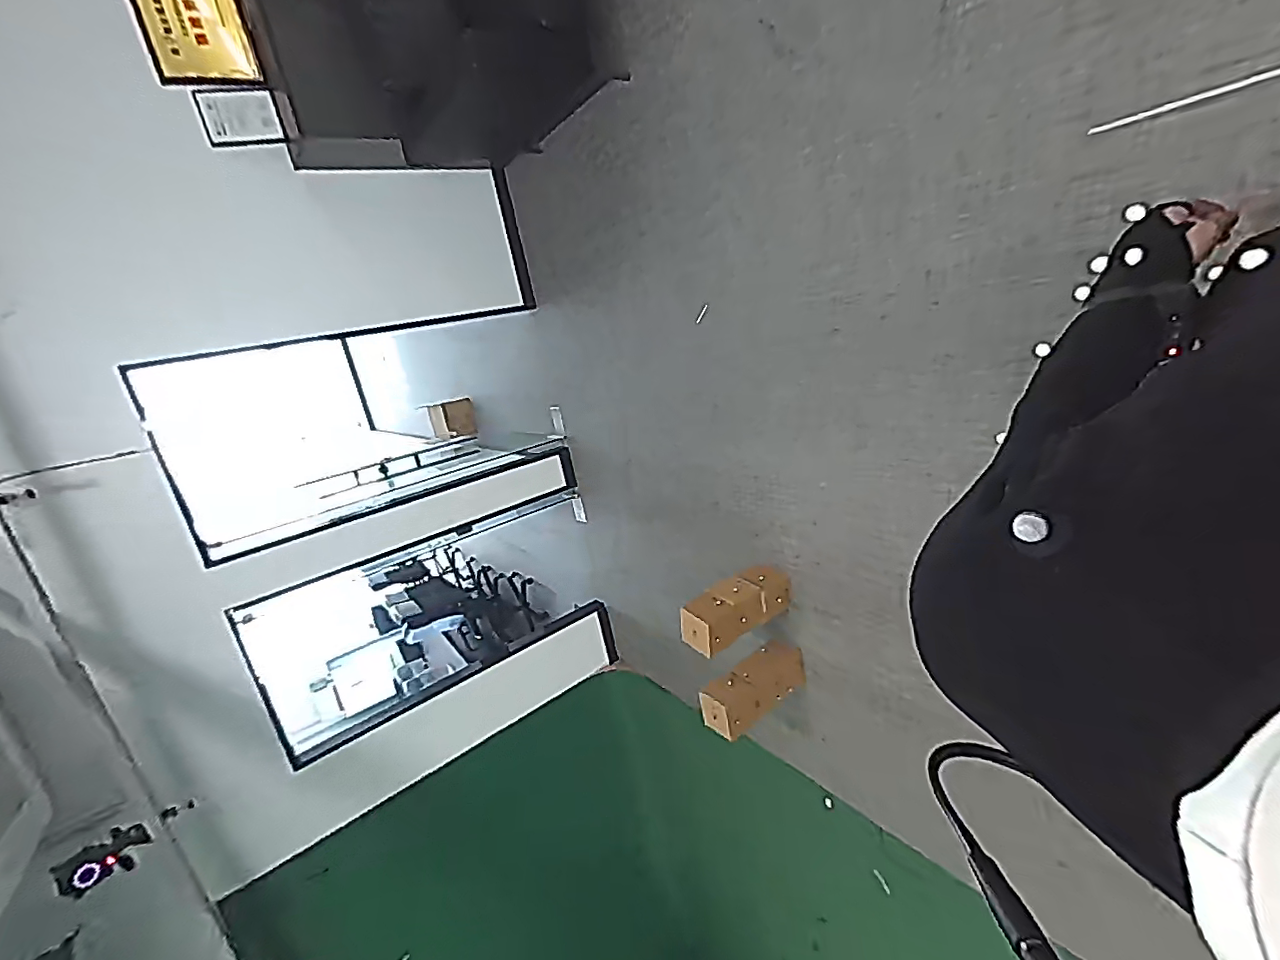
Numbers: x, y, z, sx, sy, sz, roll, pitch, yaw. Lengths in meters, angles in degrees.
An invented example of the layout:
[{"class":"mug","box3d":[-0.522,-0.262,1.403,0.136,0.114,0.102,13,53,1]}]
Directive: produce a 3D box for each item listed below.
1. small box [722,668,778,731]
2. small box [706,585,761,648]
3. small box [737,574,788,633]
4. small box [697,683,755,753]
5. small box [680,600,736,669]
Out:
[{"class":"small box","box3d":[0.492,0.956,2.378,0.179,0.176,0.168,8,113,55]},{"class":"small box","box3d":[0.402,0.575,2.311,0.168,0.176,0.179,19,122,51]},{"class":"small box","box3d":[0.537,0.539,2.396,0.179,0.176,0.168,20,122,49]},{"class":"small box","box3d":[0.367,0.997,2.278,0.168,0.176,0.179,8,113,53]},{"class":"small box","box3d":[0.281,0.628,2.216,0.168,0.176,0.179,24,125,47]}]
